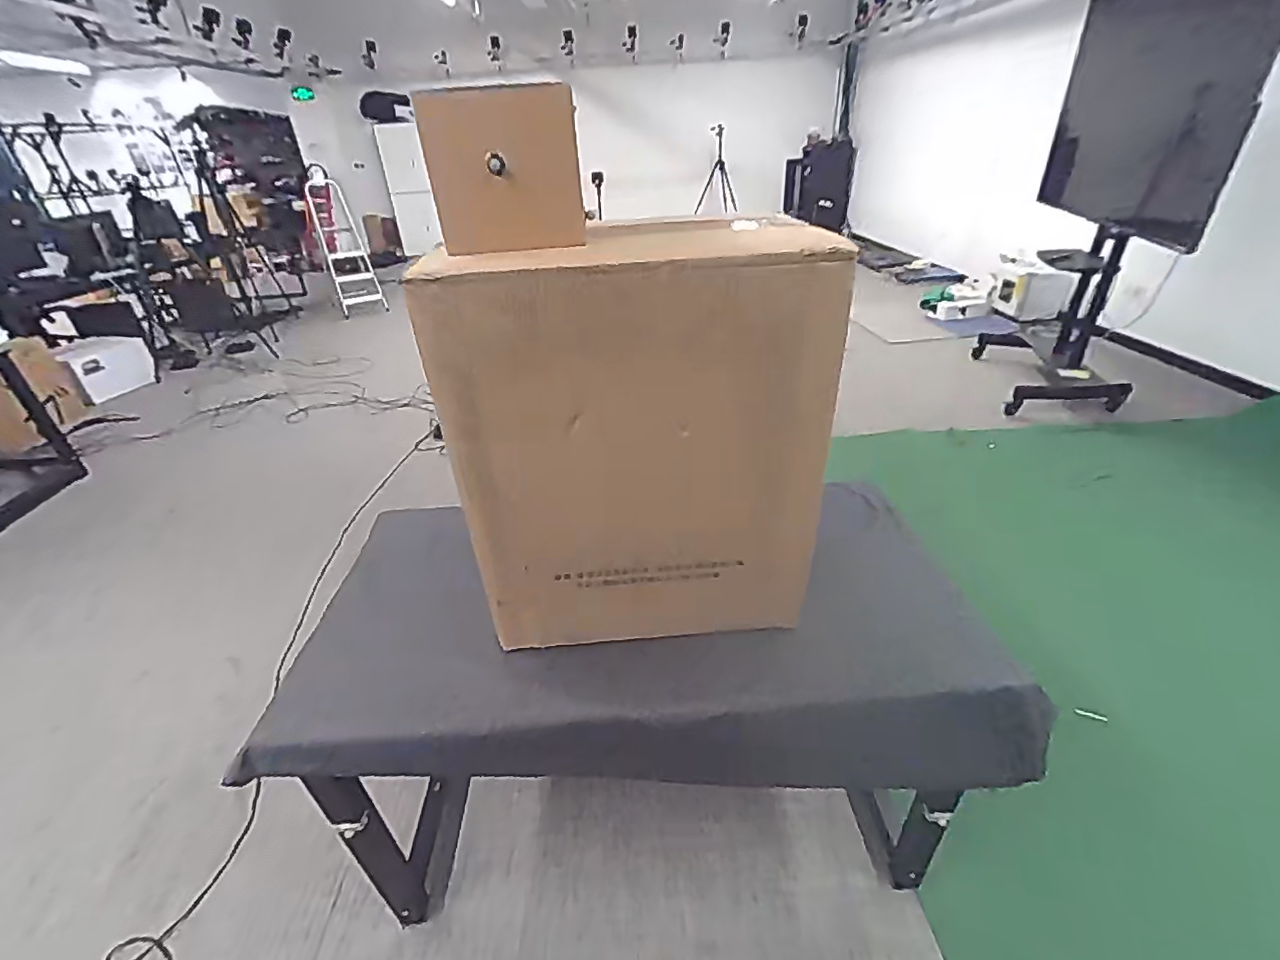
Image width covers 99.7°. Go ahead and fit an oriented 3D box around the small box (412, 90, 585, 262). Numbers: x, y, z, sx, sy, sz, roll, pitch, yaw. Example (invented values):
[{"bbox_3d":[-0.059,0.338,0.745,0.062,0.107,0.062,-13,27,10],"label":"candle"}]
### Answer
[{"bbox_3d":[-0.164,-0.392,0.697,0.179,0.176,0.168,-7,34,-2],"label":"small box"}]
